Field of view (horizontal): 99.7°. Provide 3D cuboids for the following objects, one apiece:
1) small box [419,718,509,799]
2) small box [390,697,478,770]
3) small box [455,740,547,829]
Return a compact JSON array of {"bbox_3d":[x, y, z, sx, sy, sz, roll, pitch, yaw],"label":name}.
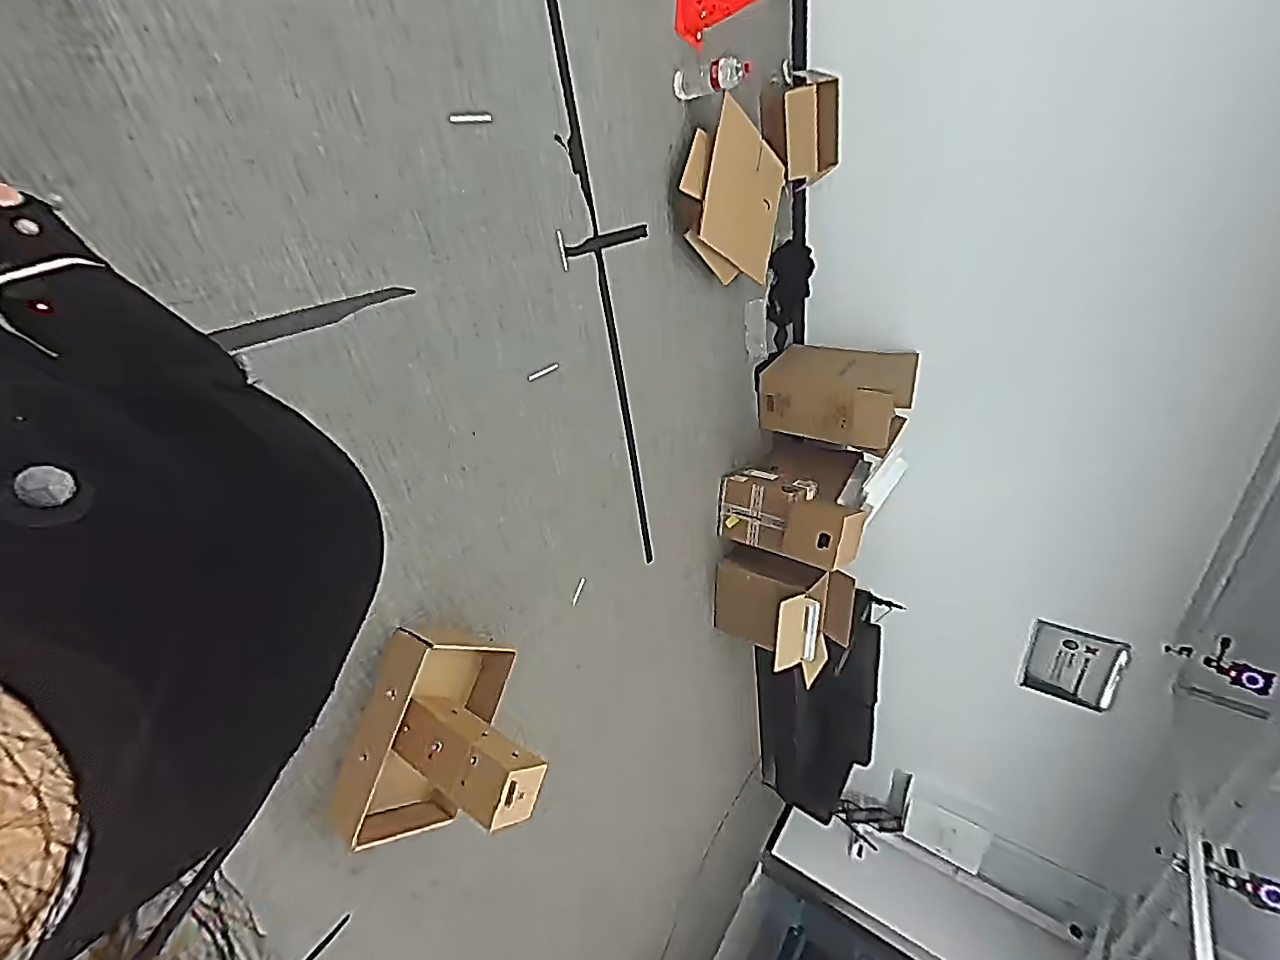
[{"bbox_3d":[-0.550,0.864,1.696,0.179,0.176,0.168,33,74,-54],"label":"small box"},{"bbox_3d":[-0.681,0.830,1.786,0.179,0.176,0.168,35,72,-54],"label":"small box"},{"bbox_3d":[-0.415,0.896,1.608,0.179,0.176,0.168,32,75,-56],"label":"small box"}]
